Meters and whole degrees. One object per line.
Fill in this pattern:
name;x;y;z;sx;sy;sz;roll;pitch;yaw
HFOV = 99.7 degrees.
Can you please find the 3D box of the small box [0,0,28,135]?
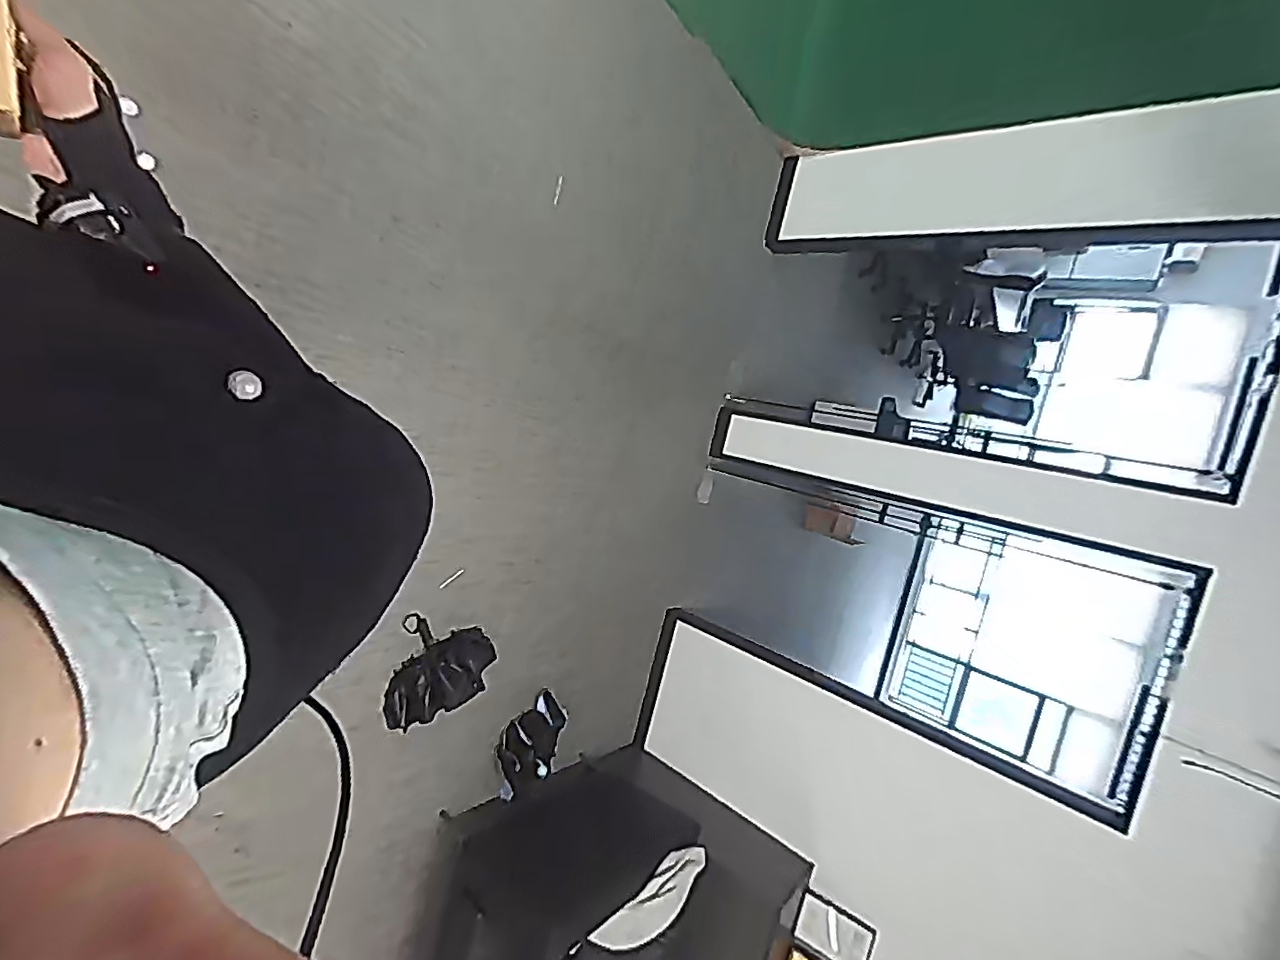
small box;-0.480;-0.315;0.301;0.179;0.176;0.168;-7;113;-48
